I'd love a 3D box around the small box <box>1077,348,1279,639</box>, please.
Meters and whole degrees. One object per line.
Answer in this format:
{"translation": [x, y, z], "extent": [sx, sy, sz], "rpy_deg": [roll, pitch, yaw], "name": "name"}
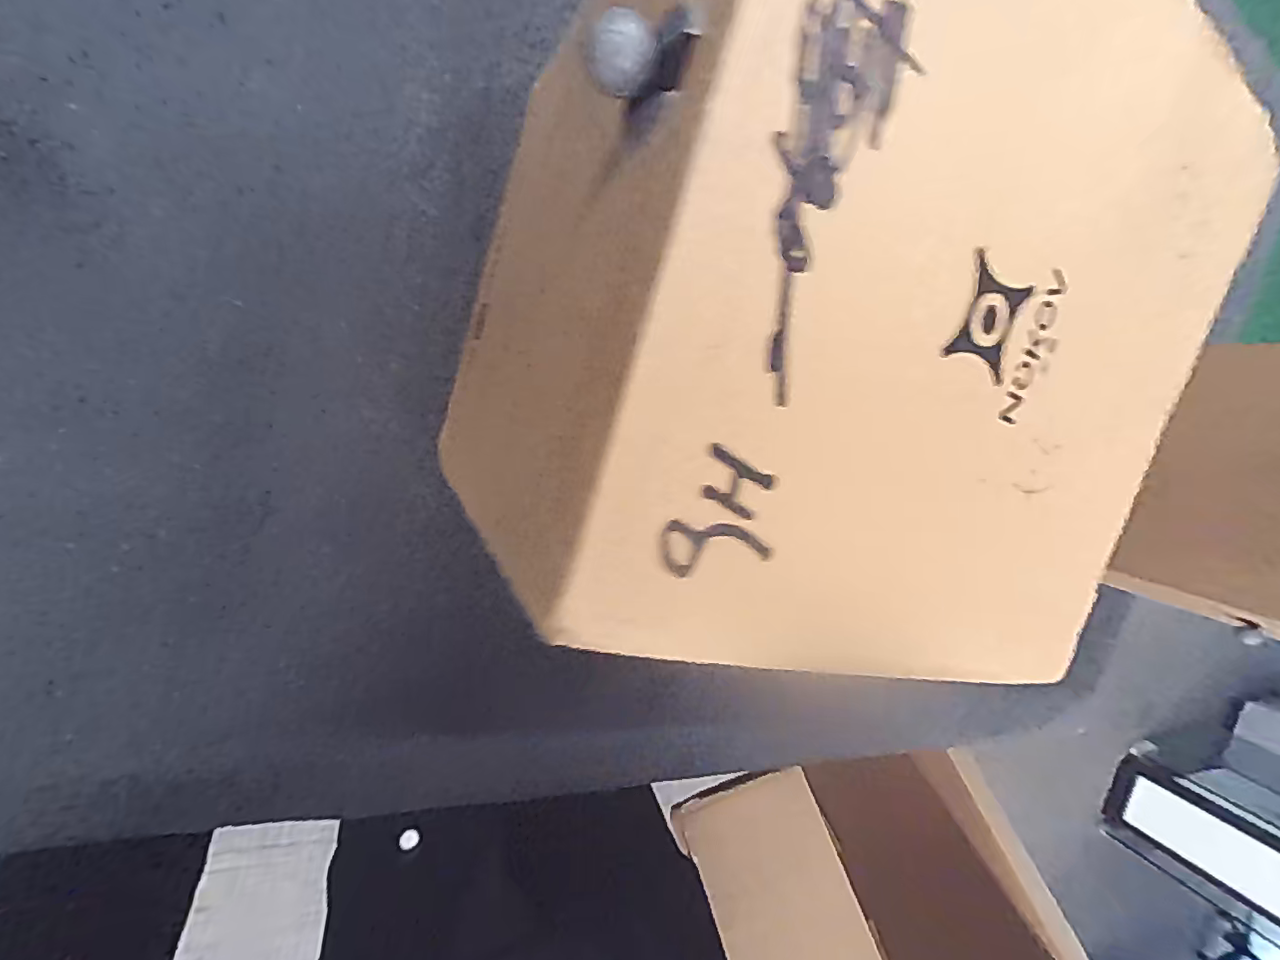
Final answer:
{"translation": [0.421, 0.013, 0.392], "extent": [0.179, 0.176, 0.168], "rpy_deg": [19, 93, -29], "name": "small box"}
